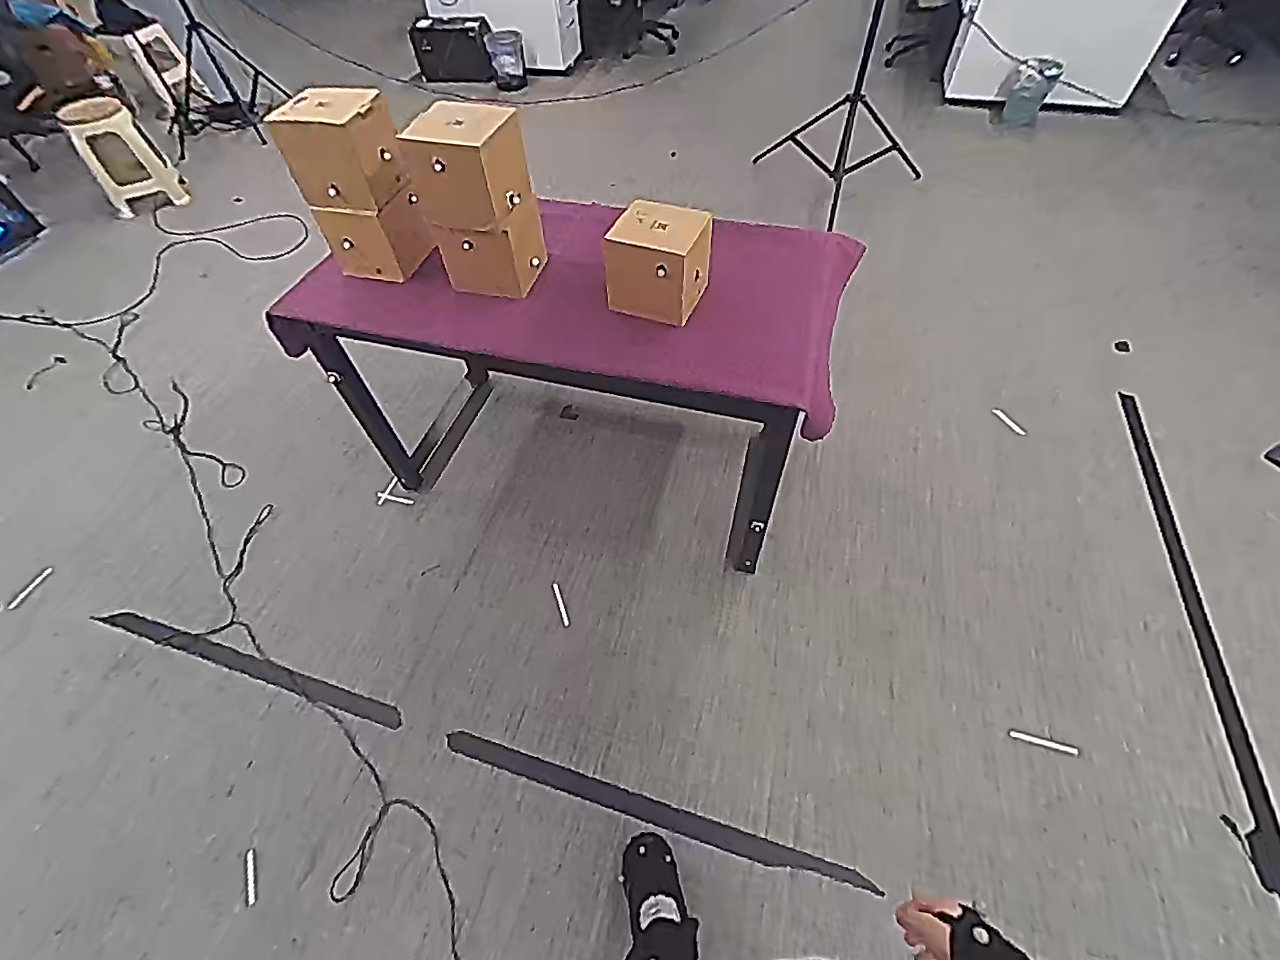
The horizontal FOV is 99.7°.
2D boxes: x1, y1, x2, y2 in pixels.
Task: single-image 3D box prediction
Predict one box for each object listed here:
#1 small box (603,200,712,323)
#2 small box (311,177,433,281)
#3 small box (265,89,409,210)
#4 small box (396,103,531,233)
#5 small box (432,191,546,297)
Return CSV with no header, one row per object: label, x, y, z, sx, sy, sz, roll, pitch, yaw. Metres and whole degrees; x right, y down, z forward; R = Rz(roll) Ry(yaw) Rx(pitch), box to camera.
small box,0.040,-0.457,1.142,0.179,0.176,0.168,18,56,15
small box,-0.613,-0.589,1.268,0.168,0.176,0.179,9,54,9
small box,-0.622,-0.693,1.140,0.179,0.176,0.168,8,54,7
small box,-0.338,-0.618,1.076,0.179,0.176,0.168,13,57,10
small box,-0.329,-0.533,1.214,0.179,0.176,0.168,11,55,9
